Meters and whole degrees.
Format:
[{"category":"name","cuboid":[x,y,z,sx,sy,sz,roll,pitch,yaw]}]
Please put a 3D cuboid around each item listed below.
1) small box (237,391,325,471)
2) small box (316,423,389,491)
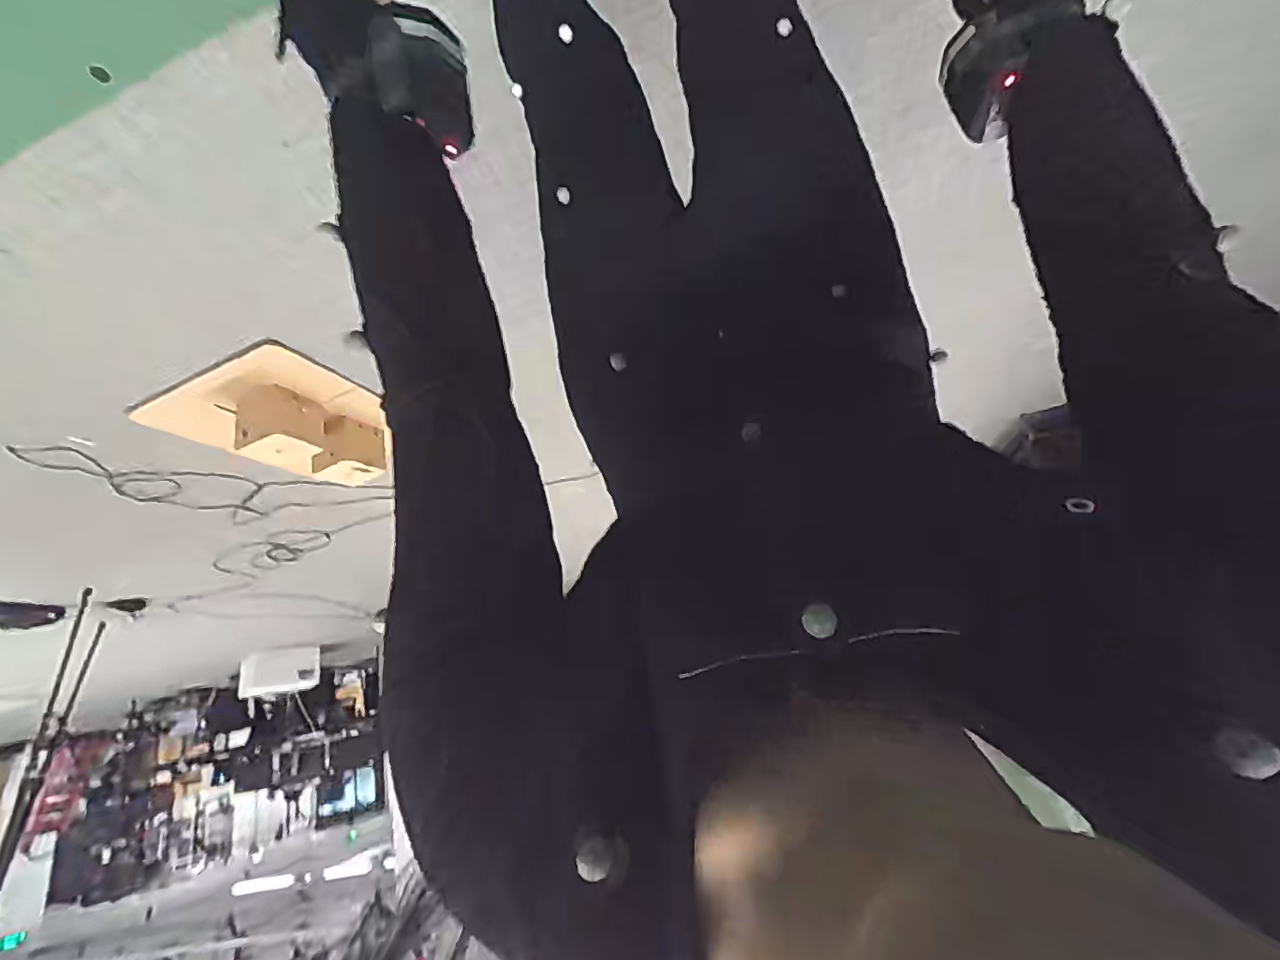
[{"category":"small box","cuboid":[-1.122,-0.152,1.700,0.179,0.176,0.168,-19,159,15]},{"category":"small box","cuboid":[-1.025,-0.082,1.922,0.179,0.176,0.168,-20,158,19]}]
